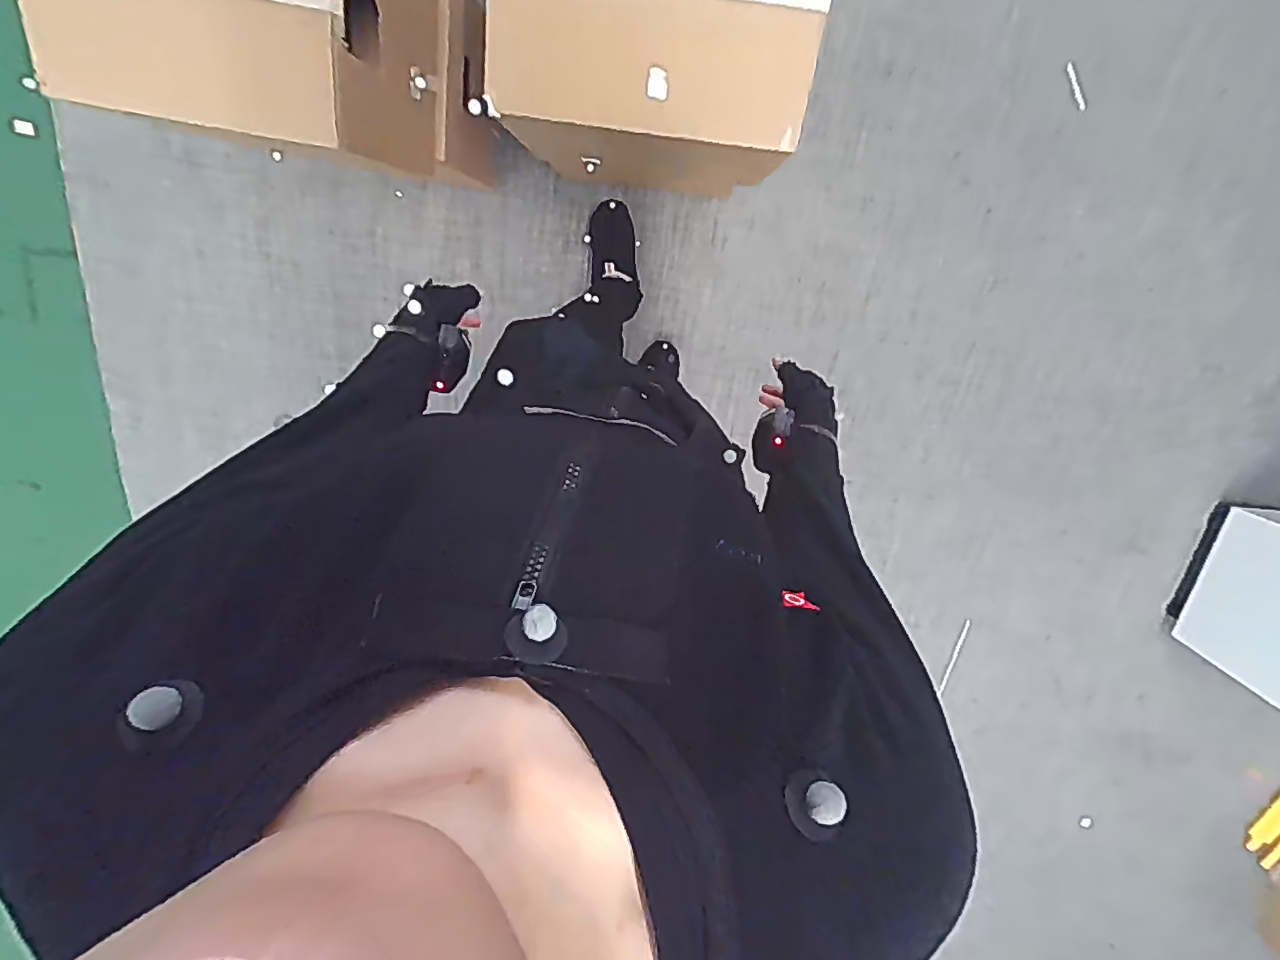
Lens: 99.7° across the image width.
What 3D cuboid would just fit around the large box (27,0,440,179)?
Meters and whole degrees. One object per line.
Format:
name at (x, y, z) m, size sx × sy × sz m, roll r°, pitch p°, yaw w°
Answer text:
large box at (-0.551, -0.664, 0.799) m, size 0.408 × 0.320 × 0.320 m, roll 11°, pitch 112°, yaw 1°
